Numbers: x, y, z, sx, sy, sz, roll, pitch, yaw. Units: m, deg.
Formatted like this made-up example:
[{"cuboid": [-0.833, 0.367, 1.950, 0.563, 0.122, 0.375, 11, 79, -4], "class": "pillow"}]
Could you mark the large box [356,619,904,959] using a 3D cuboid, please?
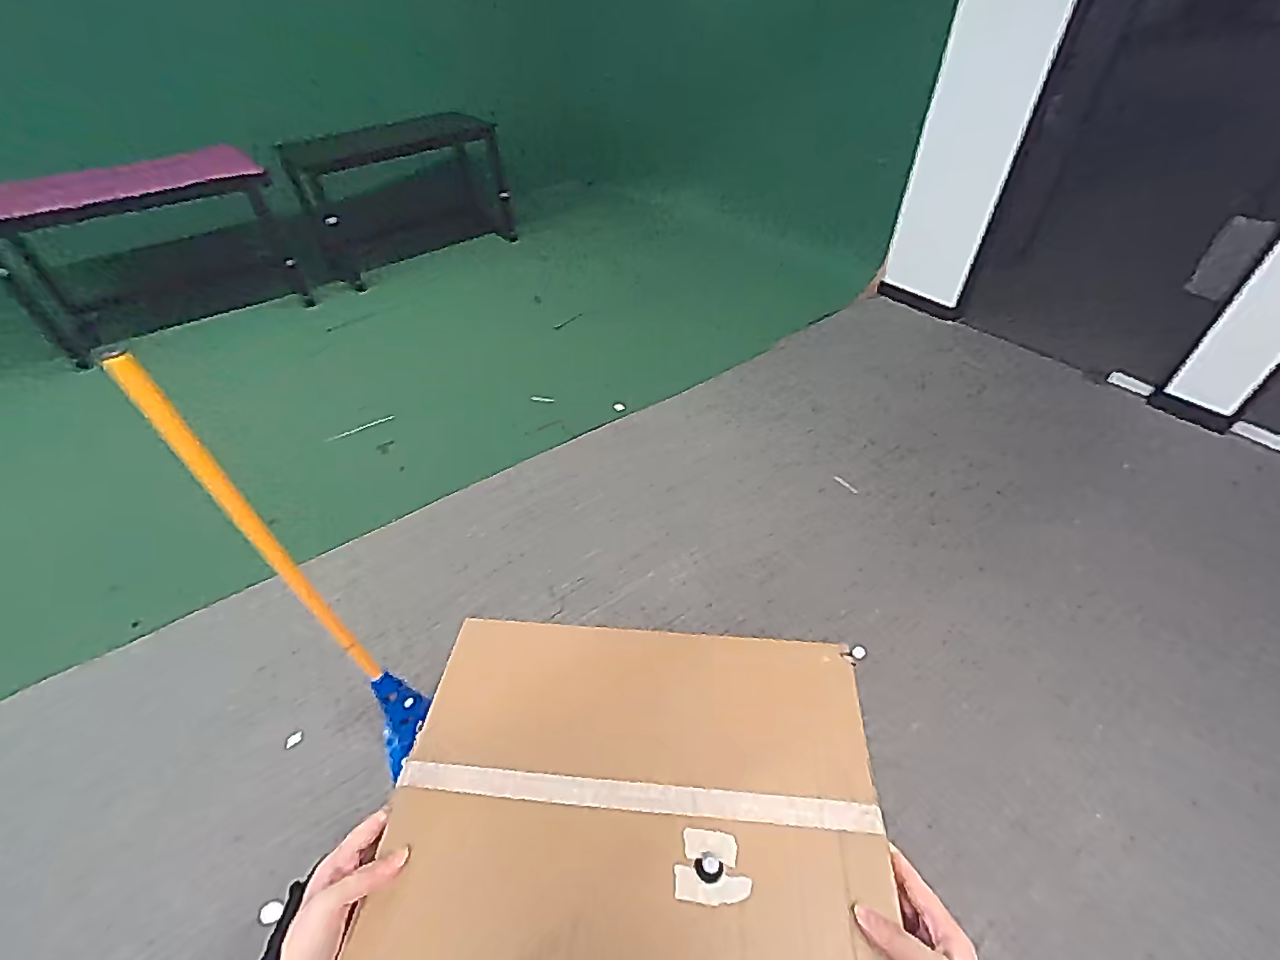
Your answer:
[{"cuboid": [0.005, 0.375, 0.574, 0.408, 0.320, 0.320, 3, 45, 6], "class": "large box"}]

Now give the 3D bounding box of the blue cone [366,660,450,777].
[{"cuboid": [-0.602, 0.571, 1.360, 0.193, 0.380, 0.192, -20, 46, -18], "class": "blue cone"}]
